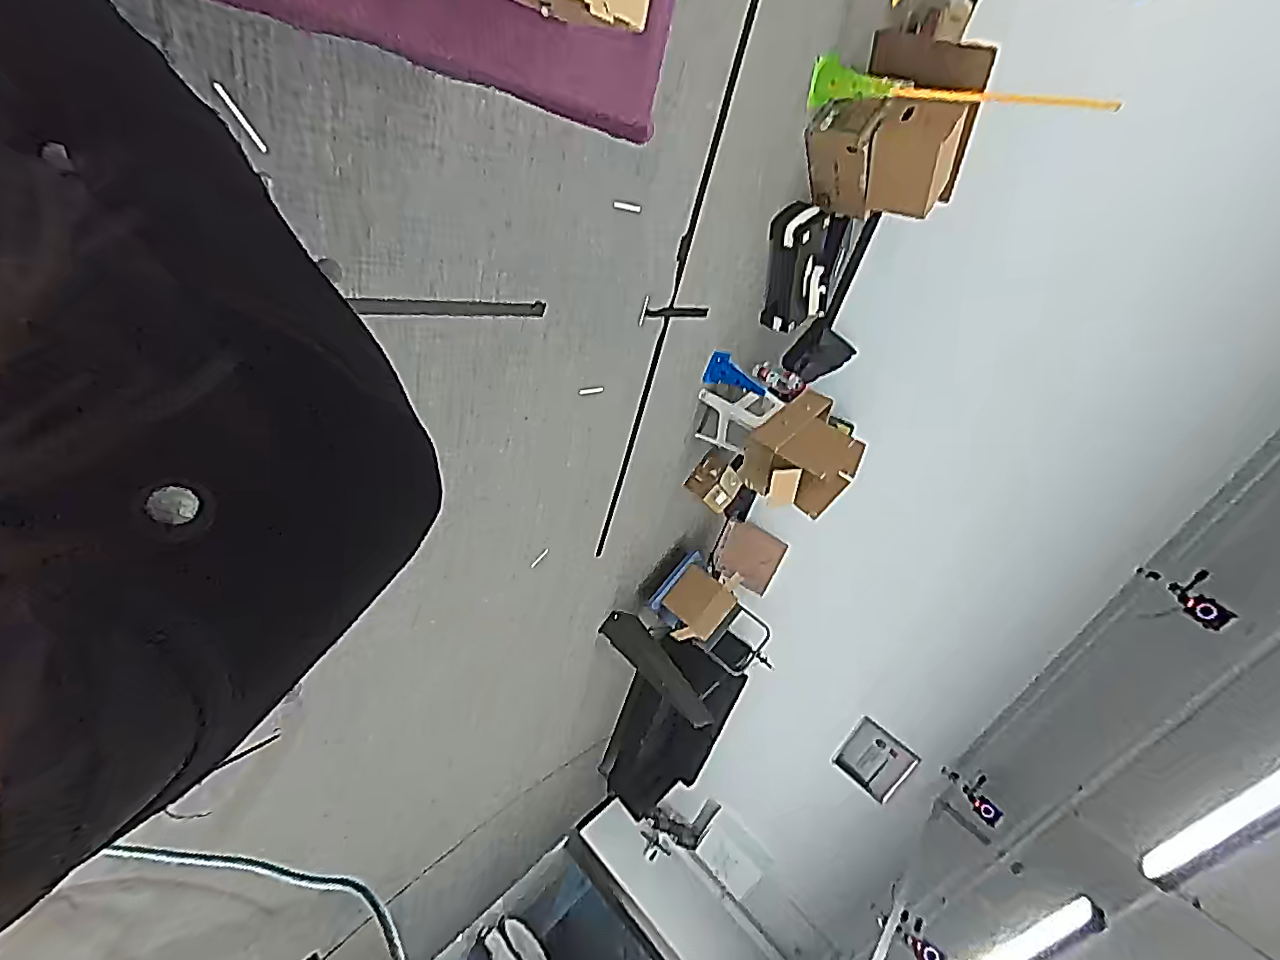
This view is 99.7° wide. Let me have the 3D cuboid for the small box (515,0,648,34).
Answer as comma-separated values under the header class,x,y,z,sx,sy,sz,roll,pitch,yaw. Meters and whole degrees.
class,x,y,z,sx,sy,sz,roll,pitch,yaw
small box,-0.090,-0.744,0.729,0.168,0.176,0.179,-21,137,-45
